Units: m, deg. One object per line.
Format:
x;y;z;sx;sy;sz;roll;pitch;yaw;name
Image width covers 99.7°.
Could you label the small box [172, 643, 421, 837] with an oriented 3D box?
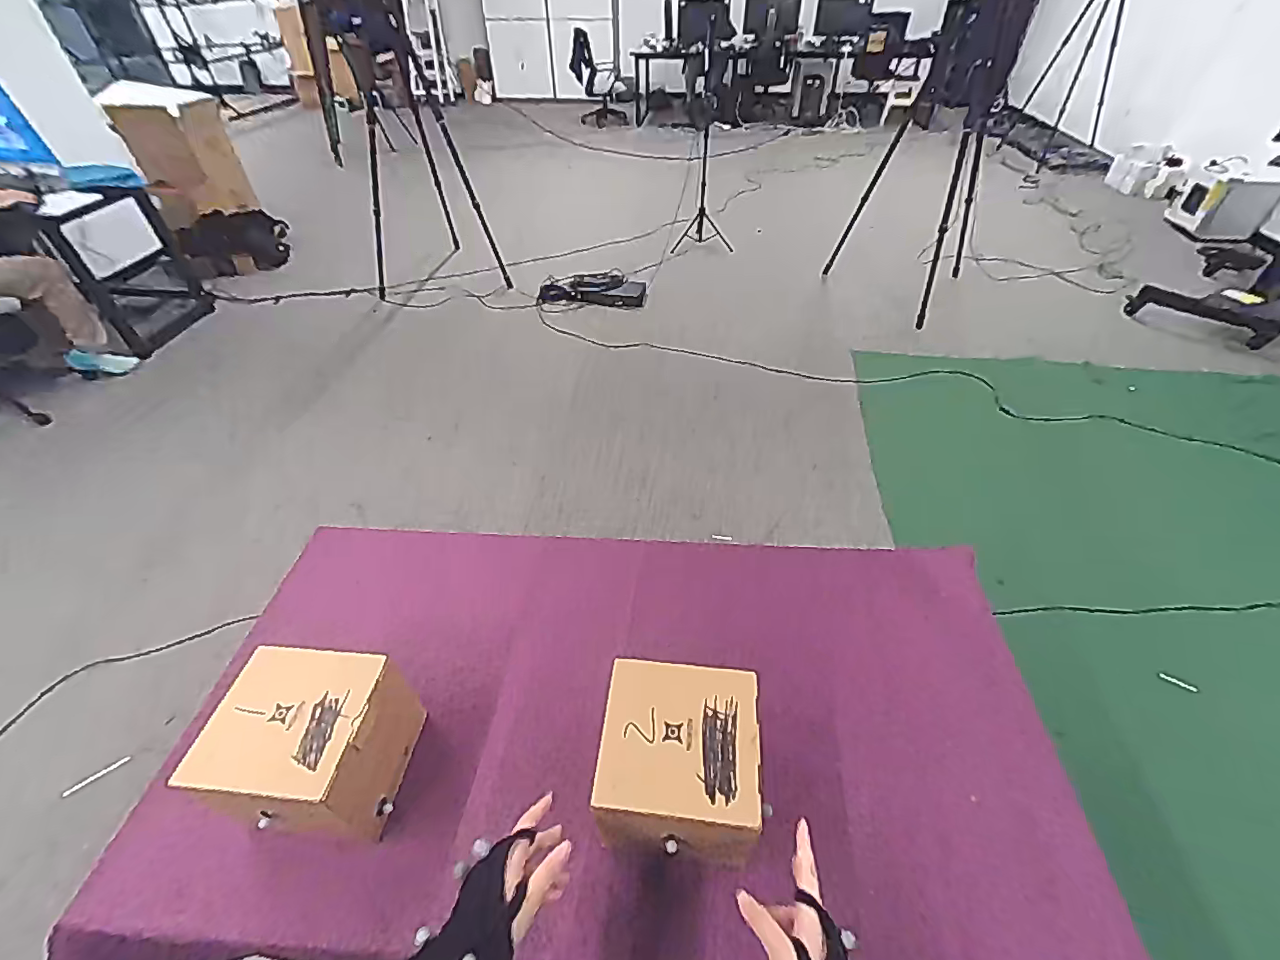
-0.403;0.328;0.679;0.179;0.176;0.168;3;43;5;small box
